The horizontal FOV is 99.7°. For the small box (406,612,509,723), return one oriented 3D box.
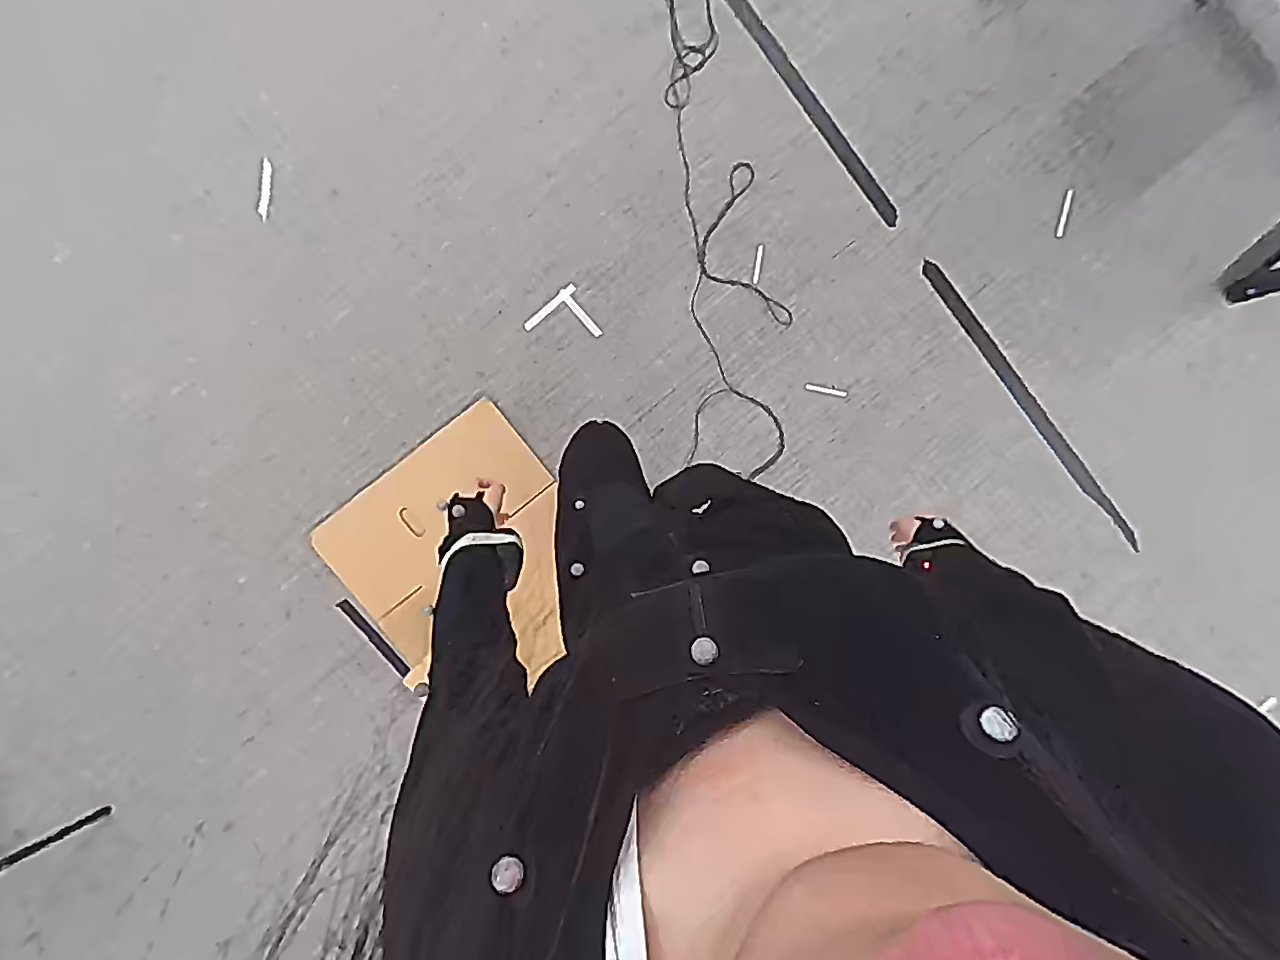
[{"bbox_3d":[-0.452,0.465,1.376,0.168,0.176,0.179,44,88,-4],"label":"small box"}]
